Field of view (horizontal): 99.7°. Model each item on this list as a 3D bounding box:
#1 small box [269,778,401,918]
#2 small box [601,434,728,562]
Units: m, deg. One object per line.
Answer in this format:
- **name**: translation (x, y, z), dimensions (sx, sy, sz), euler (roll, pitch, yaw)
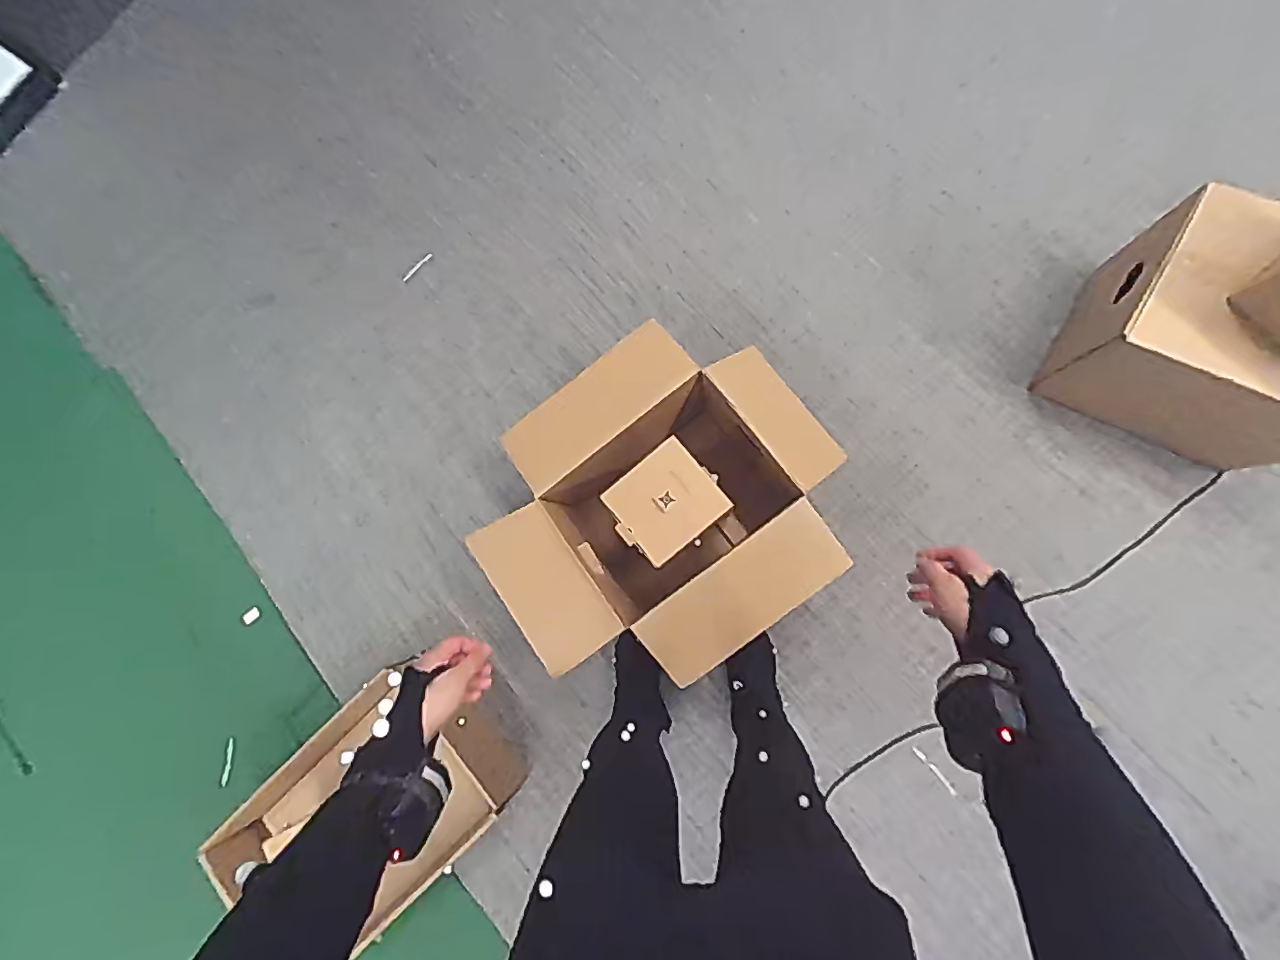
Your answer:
- **small box**: translation (-0.668, 0.808, 1.210), dimensions (0.179, 0.176, 0.168), euler (-32, 78, 4)
- **small box**: translation (0.055, 0.041, 1.043), dimensions (0.179, 0.176, 0.168), euler (-41, 80, 2)
